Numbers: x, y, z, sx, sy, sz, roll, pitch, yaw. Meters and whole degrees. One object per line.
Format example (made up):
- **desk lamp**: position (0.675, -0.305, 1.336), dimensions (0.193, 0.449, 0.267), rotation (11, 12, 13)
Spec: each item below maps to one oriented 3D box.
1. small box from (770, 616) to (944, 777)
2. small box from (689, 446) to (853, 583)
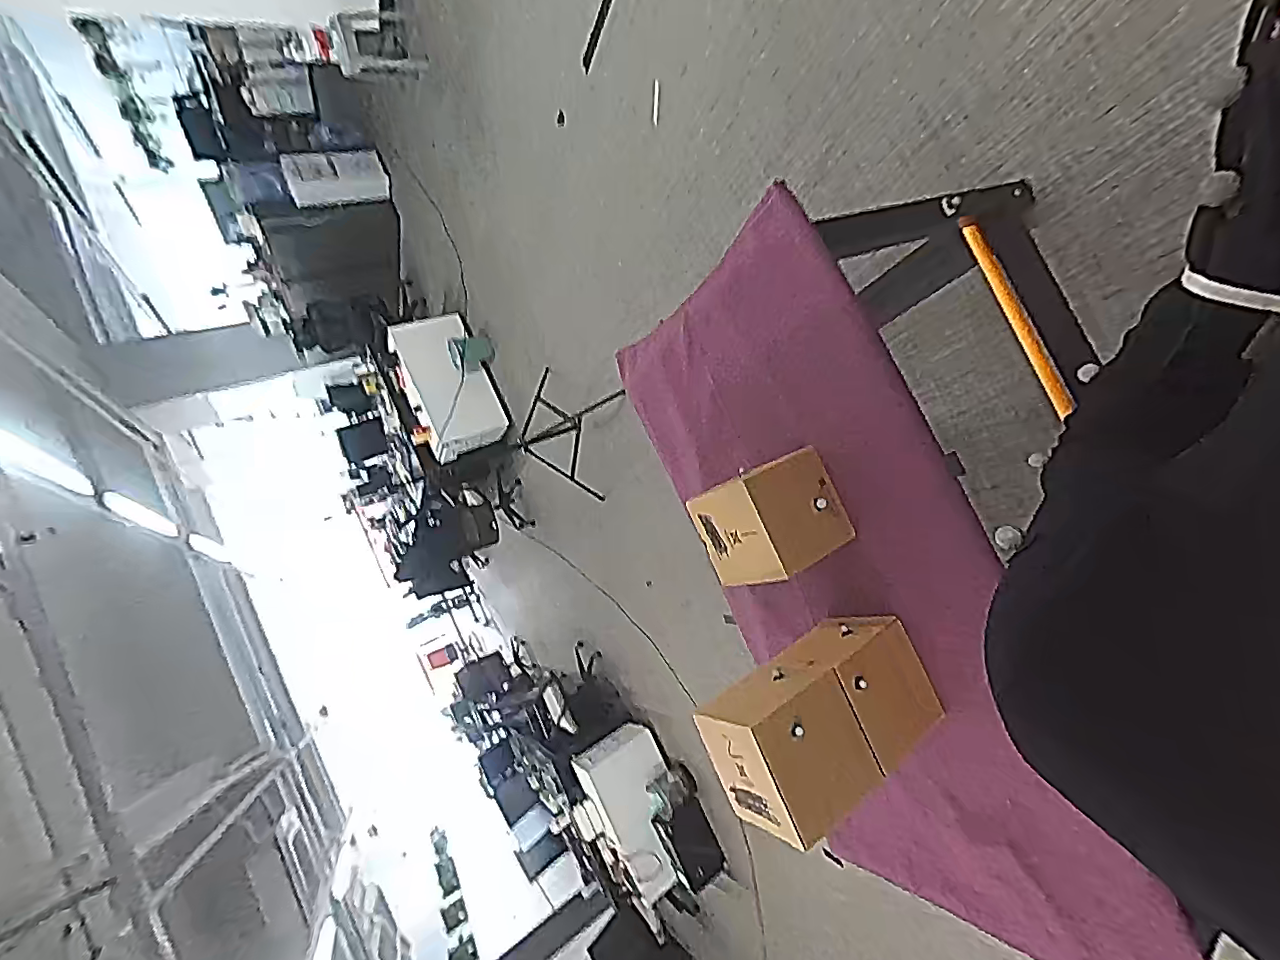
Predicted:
- **small box**: position (0.355, 0.342, 0.889), dimensions (0.179, 0.176, 0.168), rotation (65, 152, 4)
- **small box**: position (0.218, 0.060, 0.913), dimensions (0.168, 0.176, 0.179), rotation (65, 152, 2)
